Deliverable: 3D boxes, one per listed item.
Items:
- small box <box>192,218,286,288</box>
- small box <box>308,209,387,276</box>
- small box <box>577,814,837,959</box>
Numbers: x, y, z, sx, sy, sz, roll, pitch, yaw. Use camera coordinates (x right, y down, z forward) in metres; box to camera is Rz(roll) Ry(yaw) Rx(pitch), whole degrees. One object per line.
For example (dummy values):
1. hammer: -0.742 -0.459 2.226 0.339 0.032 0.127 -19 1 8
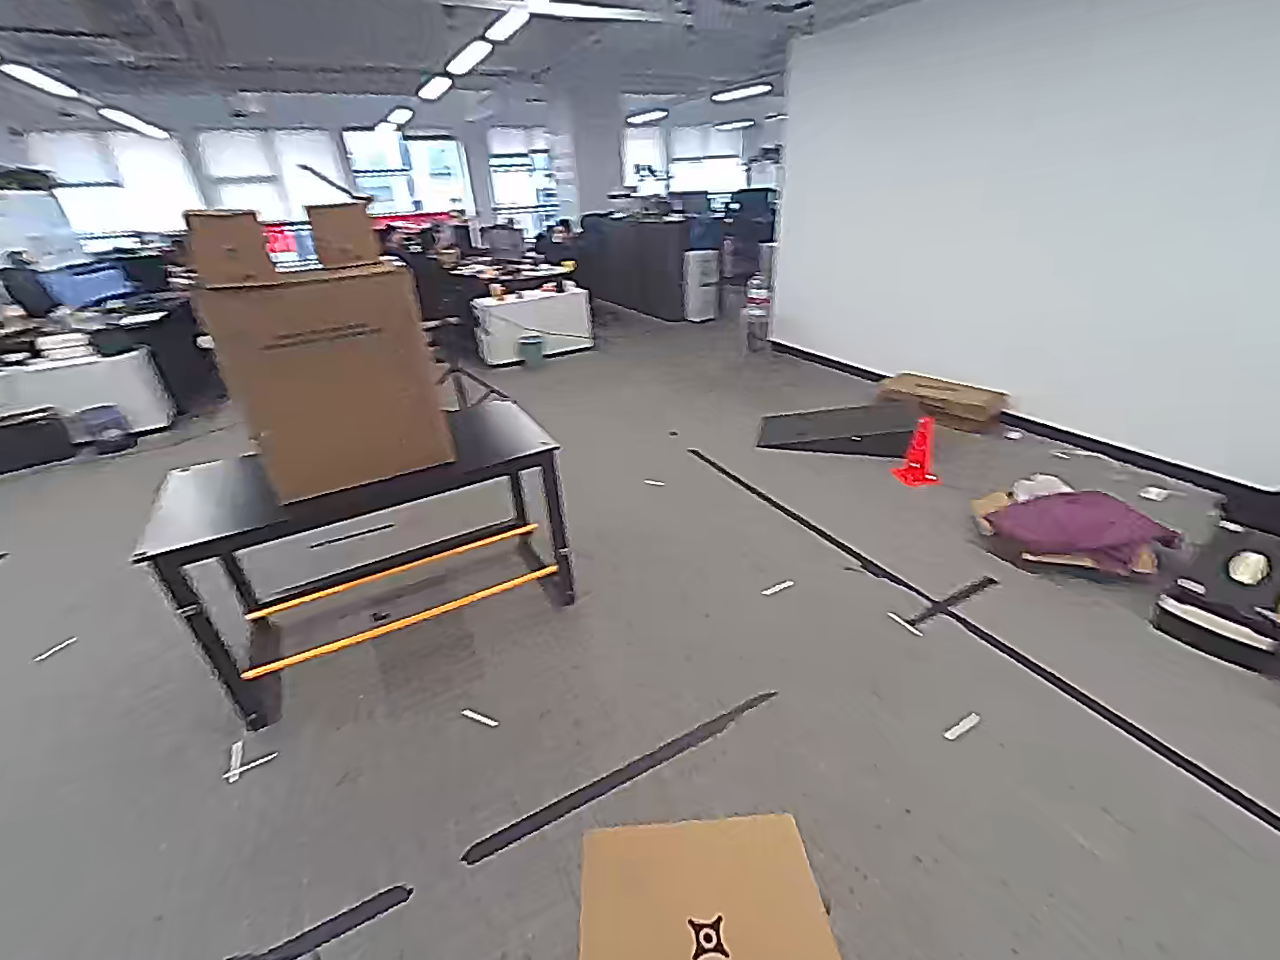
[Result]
1. small box: -1.134 -0.648 1.543 0.168 0.176 0.179 -18 32 -25
2. small box: -0.886 -0.719 1.638 0.168 0.176 0.179 -20 32 -25
3. small box: 0.044 0.374 0.372 0.168 0.176 0.179 -5 23 -3
